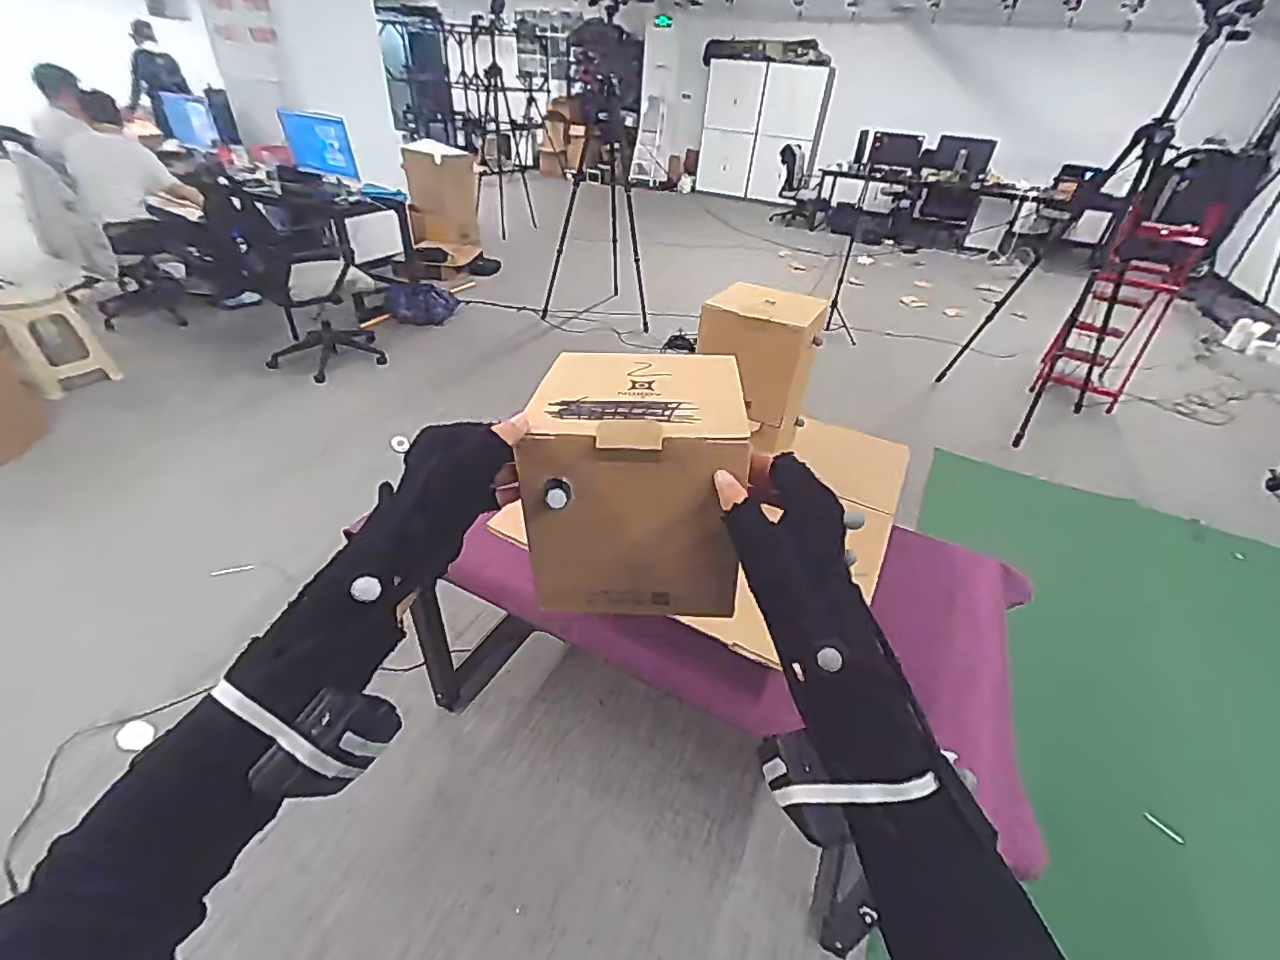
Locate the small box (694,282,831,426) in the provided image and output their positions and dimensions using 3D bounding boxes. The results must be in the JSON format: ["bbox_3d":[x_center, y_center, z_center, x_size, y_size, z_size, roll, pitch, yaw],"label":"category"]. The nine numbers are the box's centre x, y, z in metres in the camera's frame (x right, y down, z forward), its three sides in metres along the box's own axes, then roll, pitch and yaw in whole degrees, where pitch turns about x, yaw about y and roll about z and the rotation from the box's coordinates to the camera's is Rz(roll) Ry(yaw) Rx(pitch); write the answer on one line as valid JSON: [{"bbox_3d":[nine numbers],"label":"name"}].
[{"bbox_3d":[0.201,-0.216,0.911,0.168,0.176,0.179,21,37,19],"label":"small box"}]

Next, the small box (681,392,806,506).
[{"bbox_3d":[0.187,-0.082,1.003,0.168,0.176,0.179,21,38,21],"label":"small box"}]
